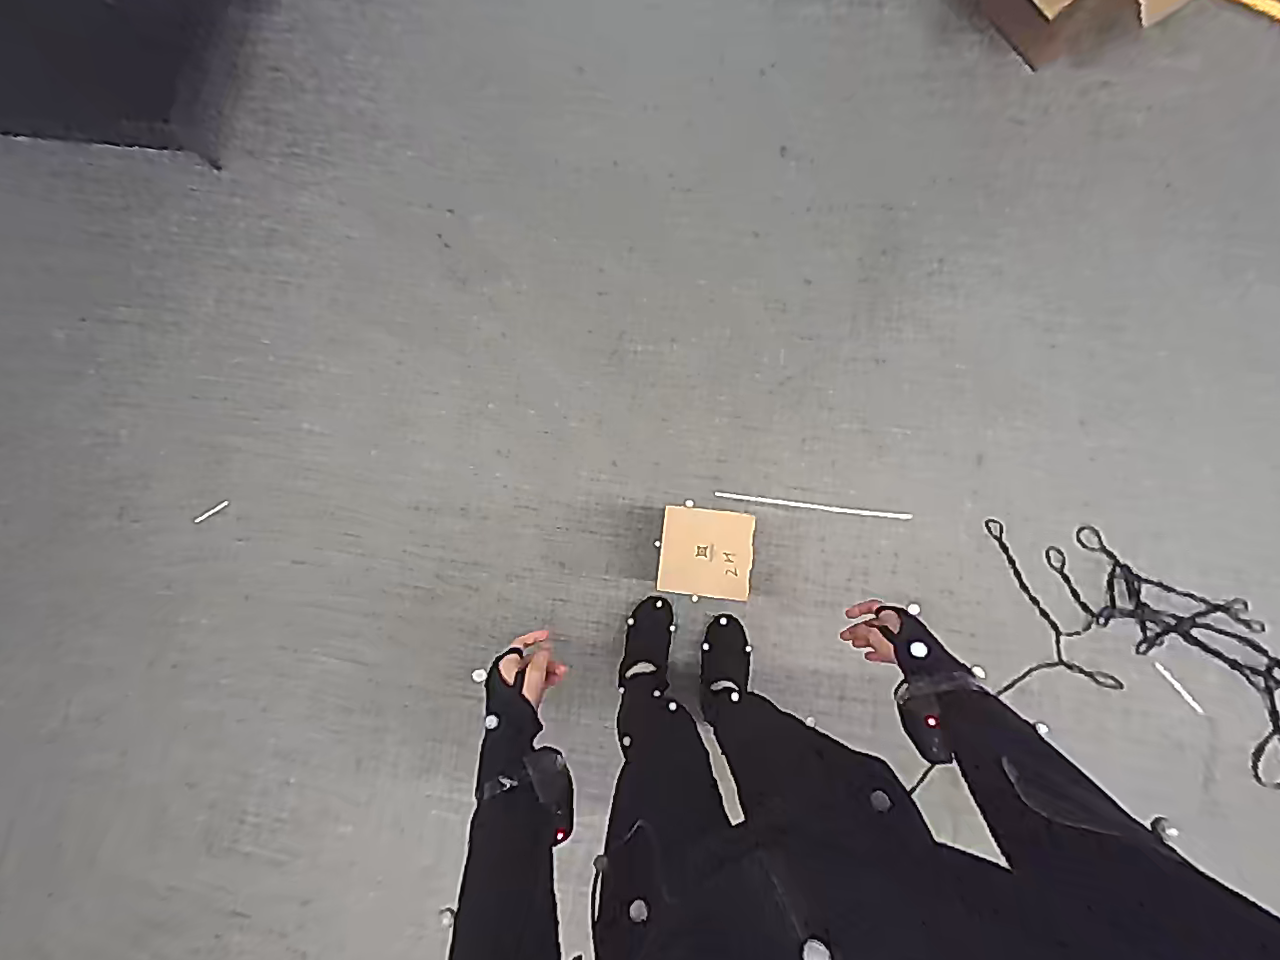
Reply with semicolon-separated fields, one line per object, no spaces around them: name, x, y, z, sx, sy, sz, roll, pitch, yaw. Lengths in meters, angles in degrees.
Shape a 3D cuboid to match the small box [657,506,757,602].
small box;0.133;0.150;1.101;0.179;0.176;0.168;6;83;5
